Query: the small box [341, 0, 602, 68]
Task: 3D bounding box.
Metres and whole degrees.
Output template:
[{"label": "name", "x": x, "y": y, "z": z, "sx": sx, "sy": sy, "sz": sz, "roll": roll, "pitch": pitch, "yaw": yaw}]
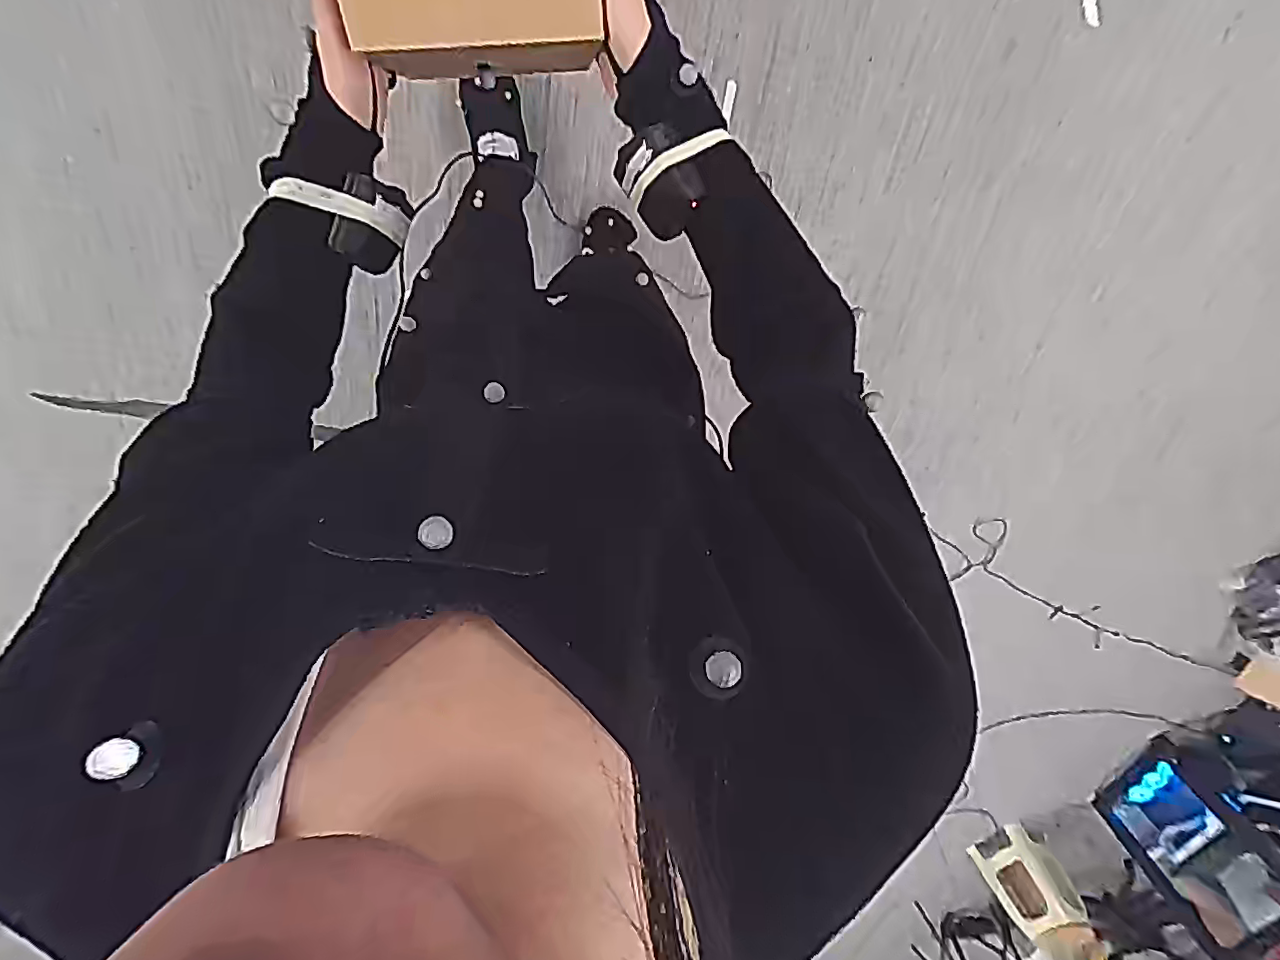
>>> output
[{"label": "small box", "x": -0.118, "y": -0.401, "z": 0.374, "sx": 0.168, "sy": 0.176, "sz": 0.179, "roll": -7, "pitch": 122, "yaw": -6}]
